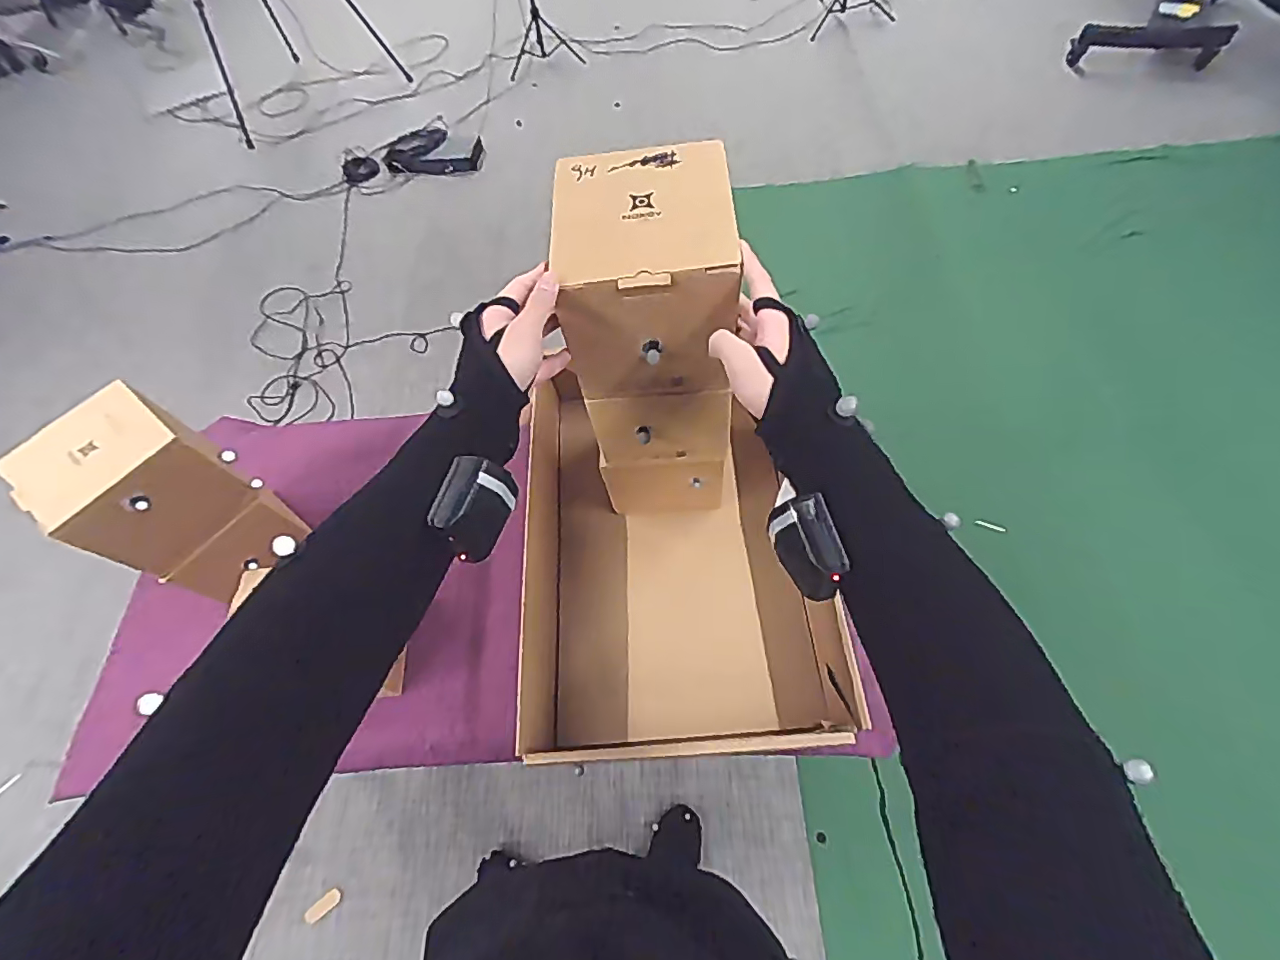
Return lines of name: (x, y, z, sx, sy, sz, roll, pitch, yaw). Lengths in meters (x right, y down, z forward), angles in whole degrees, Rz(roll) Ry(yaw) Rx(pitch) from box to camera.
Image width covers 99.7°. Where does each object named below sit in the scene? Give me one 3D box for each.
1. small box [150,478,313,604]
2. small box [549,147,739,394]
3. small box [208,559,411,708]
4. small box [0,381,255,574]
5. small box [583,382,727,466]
small box: (-0.697, 0.086, 0.900, 0.179, 0.176, 0.168, 34, 68, 21)
small box: (0.010, -0.202, 0.561, 0.168, 0.176, 0.179, -4, 64, 4)
small box: (-0.468, 0.232, 0.797, 0.179, 0.176, 0.168, -7, 60, 1)
small box: (-0.704, 0.003, 0.760, 0.168, 0.176, 0.179, 34, 69, 20)
small box: (0.025, -0.127, 0.706, 0.168, 0.176, 0.179, -4, 63, 4)
